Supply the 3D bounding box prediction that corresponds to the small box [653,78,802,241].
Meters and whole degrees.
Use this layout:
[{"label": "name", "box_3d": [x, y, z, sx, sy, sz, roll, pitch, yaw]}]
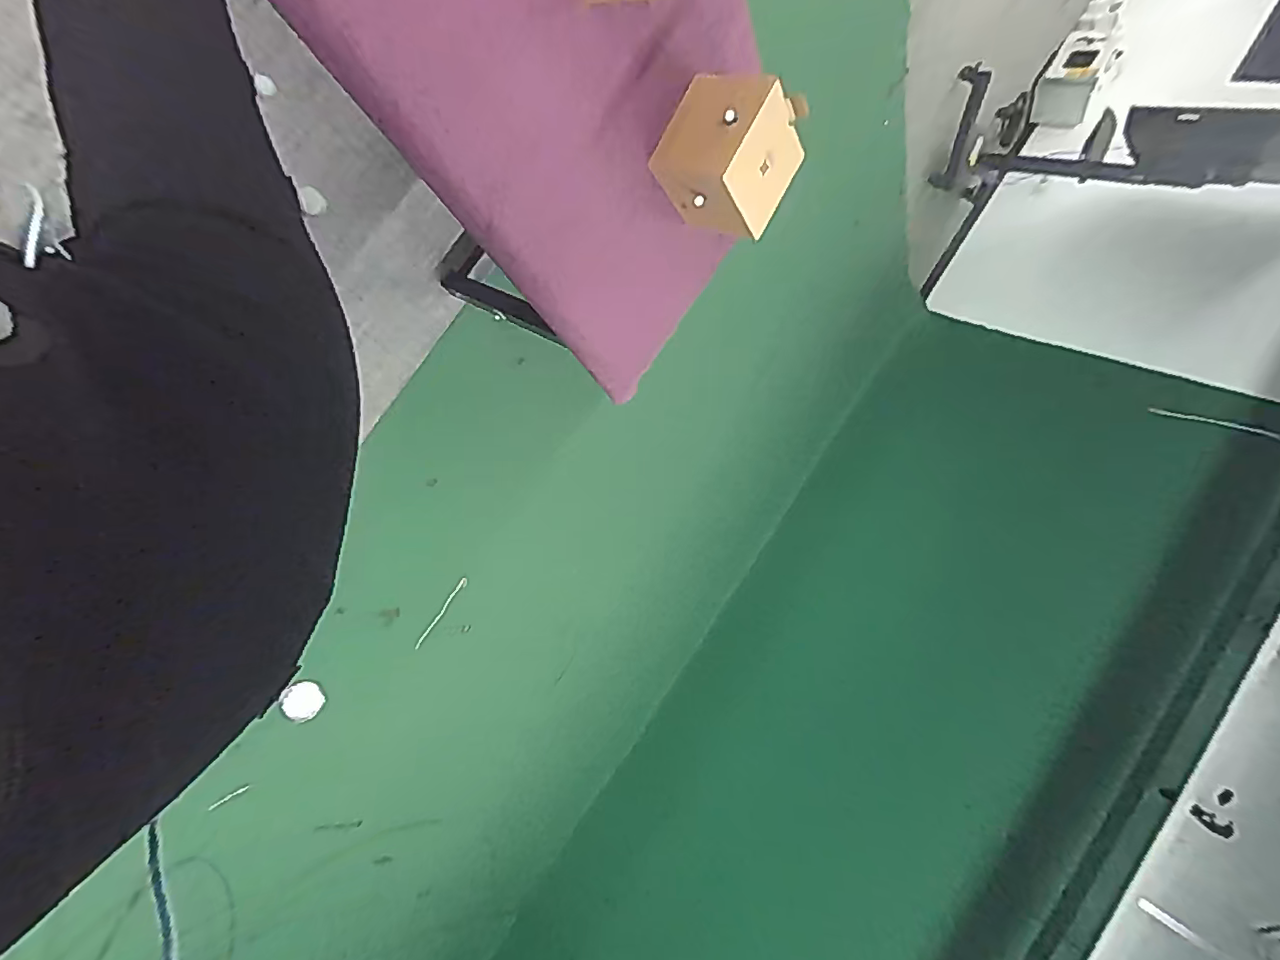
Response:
[{"label": "small box", "box_3d": [0.147, -0.553, 0.941, 0.168, 0.176, 0.179, 25, 94, -56]}]
